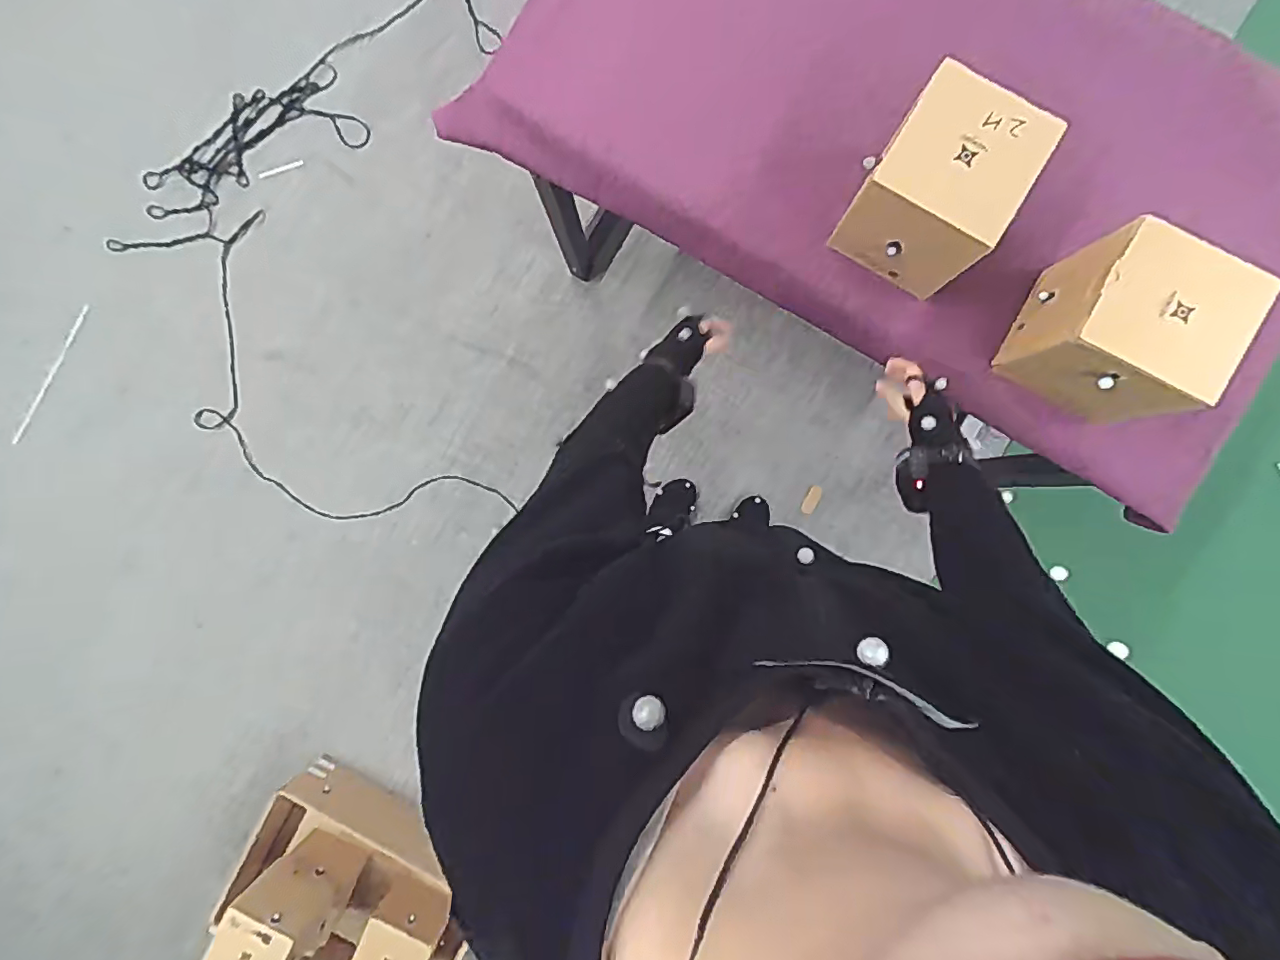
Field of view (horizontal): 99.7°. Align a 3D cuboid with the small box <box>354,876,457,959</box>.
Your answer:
[{"bbox_3d":[-0.603,1.180,1.396,0.179,0.176,0.168,24,88,4],"label":"small box"}]

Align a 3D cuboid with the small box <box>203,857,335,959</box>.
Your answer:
[{"bbox_3d":[-0.849,1.034,1.246,0.168,0.176,0.179,26,90,2],"label":"small box"}]

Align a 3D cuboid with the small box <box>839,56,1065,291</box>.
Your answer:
[{"bbox_3d":[0.388,-0.384,0.714,0.168,0.176,0.179,32,89,2],"label":"small box"}]

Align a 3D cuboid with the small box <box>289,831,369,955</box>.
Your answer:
[{"bbox_3d":[-0.848,1.063,1.409,0.179,0.176,0.168,22,88,2],"label":"small box"}]

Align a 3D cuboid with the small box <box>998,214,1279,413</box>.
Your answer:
[{"bbox_3d":[0.623,-0.198,0.701,0.179,0.176,0.168,28,91,4],"label":"small box"}]
